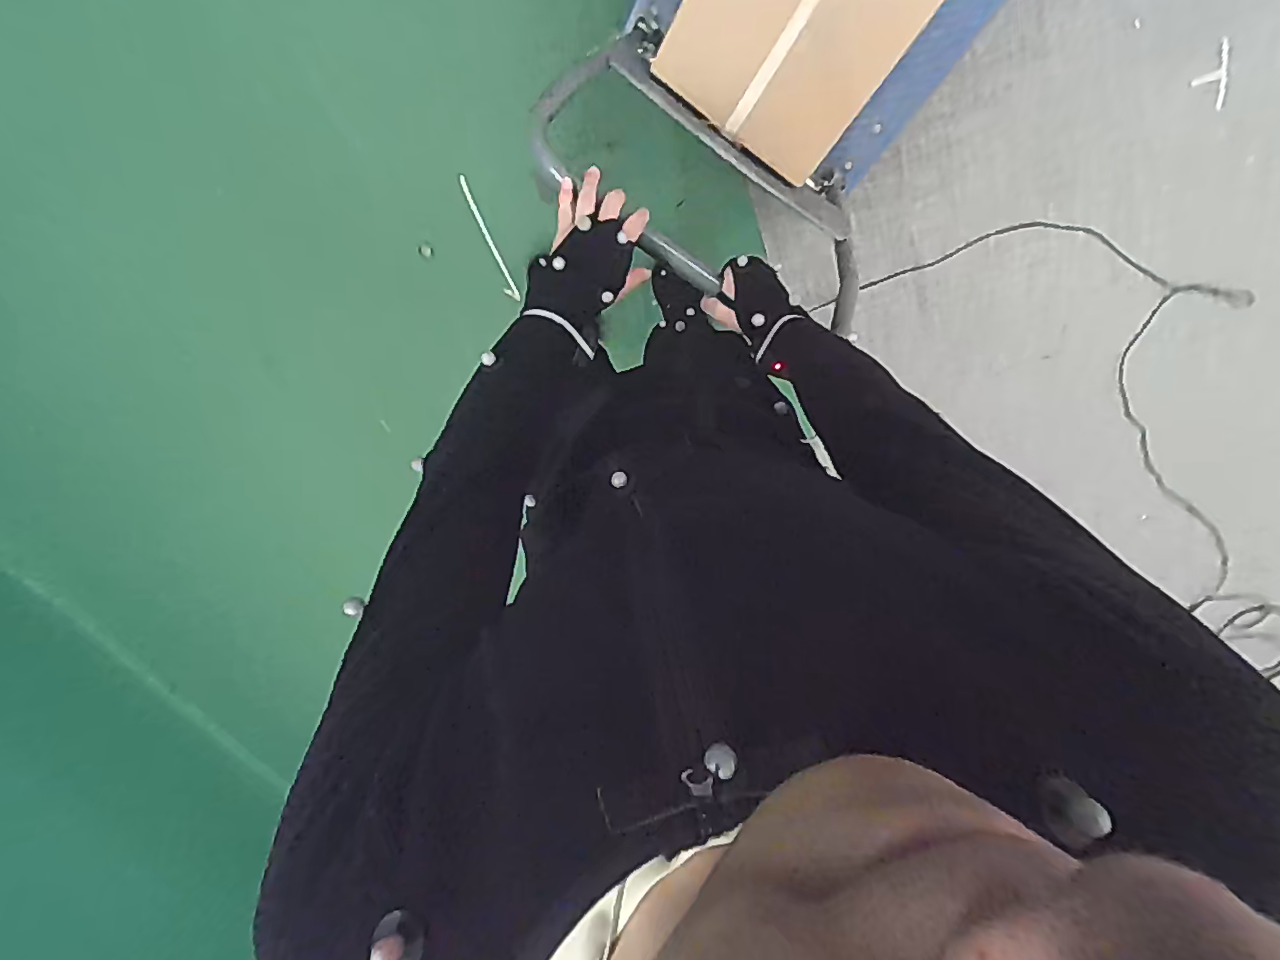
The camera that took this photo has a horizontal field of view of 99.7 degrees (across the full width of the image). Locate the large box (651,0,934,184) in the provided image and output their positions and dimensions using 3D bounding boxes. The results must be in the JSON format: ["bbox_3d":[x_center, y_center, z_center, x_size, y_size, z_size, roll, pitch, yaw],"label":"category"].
[{"bbox_3d":[0.266,-0.793,0.892,0.320,0.320,0.408,30,129,-14],"label":"large box"}]
